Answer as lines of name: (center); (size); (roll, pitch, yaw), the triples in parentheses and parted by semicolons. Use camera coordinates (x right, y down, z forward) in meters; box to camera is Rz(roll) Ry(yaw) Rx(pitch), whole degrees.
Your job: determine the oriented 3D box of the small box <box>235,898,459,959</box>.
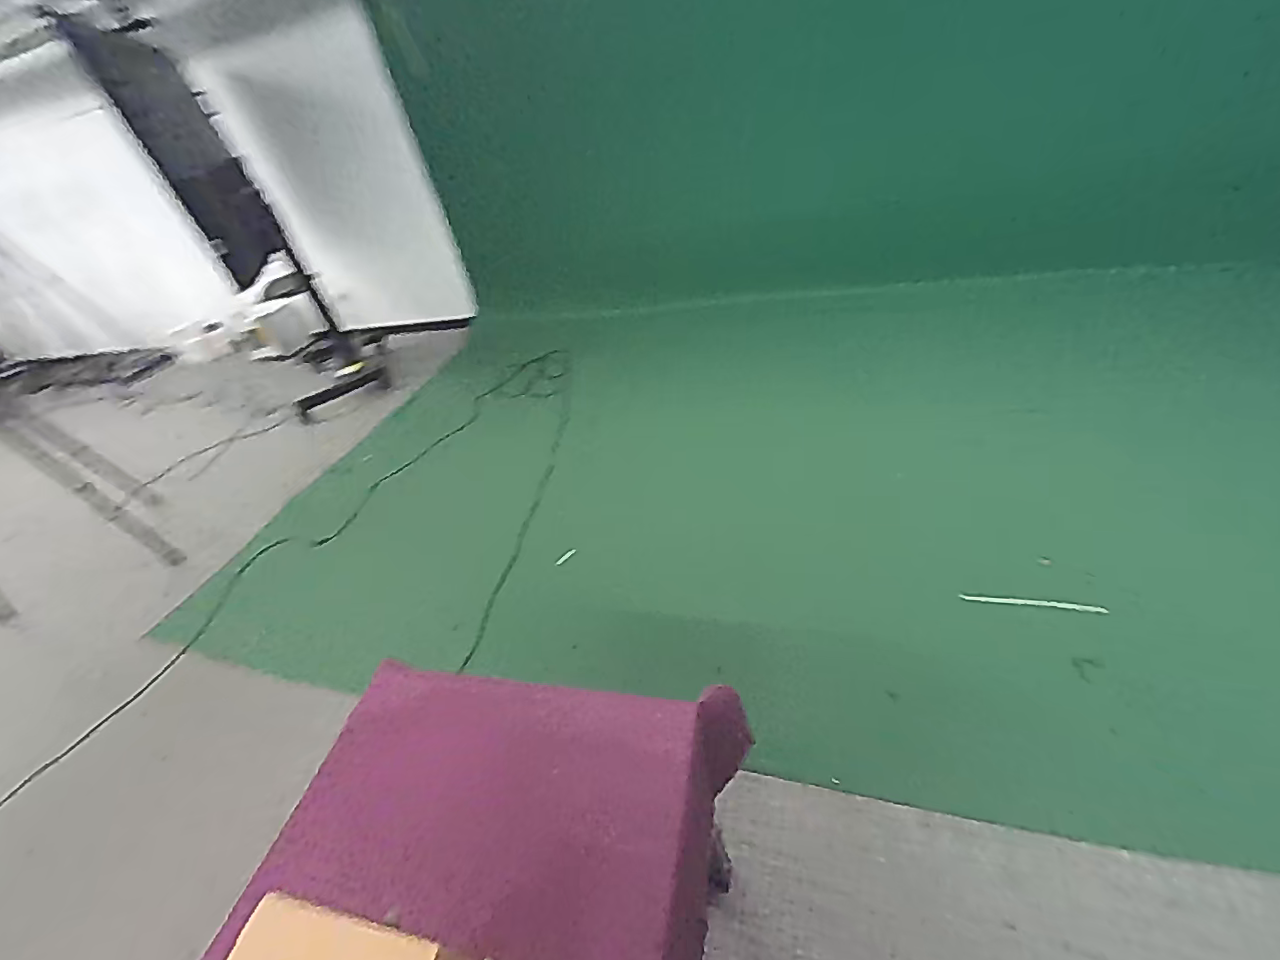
small box: (-0.224, 0.458, 0.414); (0.179, 0.176, 0.168); (-1, 41, 18)
